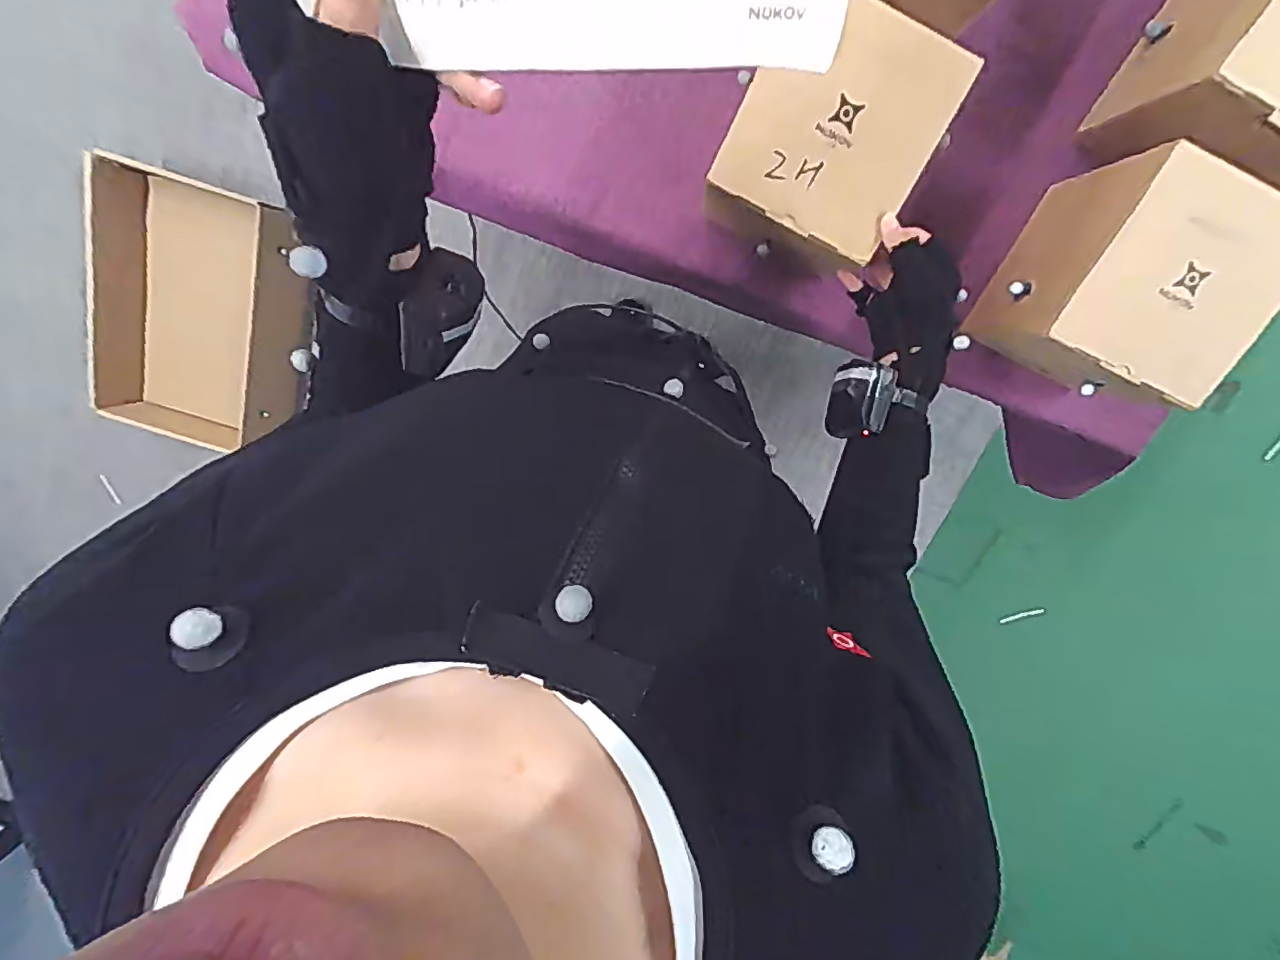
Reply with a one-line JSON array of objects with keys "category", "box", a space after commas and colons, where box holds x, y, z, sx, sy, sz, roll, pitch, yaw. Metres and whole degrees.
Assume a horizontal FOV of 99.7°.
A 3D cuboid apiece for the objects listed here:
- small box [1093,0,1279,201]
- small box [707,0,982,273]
[{"category": "small box", "box": [0.567, -0.381, 0.483, 0.168, 0.176, 0.179, 28, 108, -5]}, {"category": "small box", "box": [0.174, -0.325, 0.531, 0.168, 0.176, 0.179, 26, 107, -4]}]
